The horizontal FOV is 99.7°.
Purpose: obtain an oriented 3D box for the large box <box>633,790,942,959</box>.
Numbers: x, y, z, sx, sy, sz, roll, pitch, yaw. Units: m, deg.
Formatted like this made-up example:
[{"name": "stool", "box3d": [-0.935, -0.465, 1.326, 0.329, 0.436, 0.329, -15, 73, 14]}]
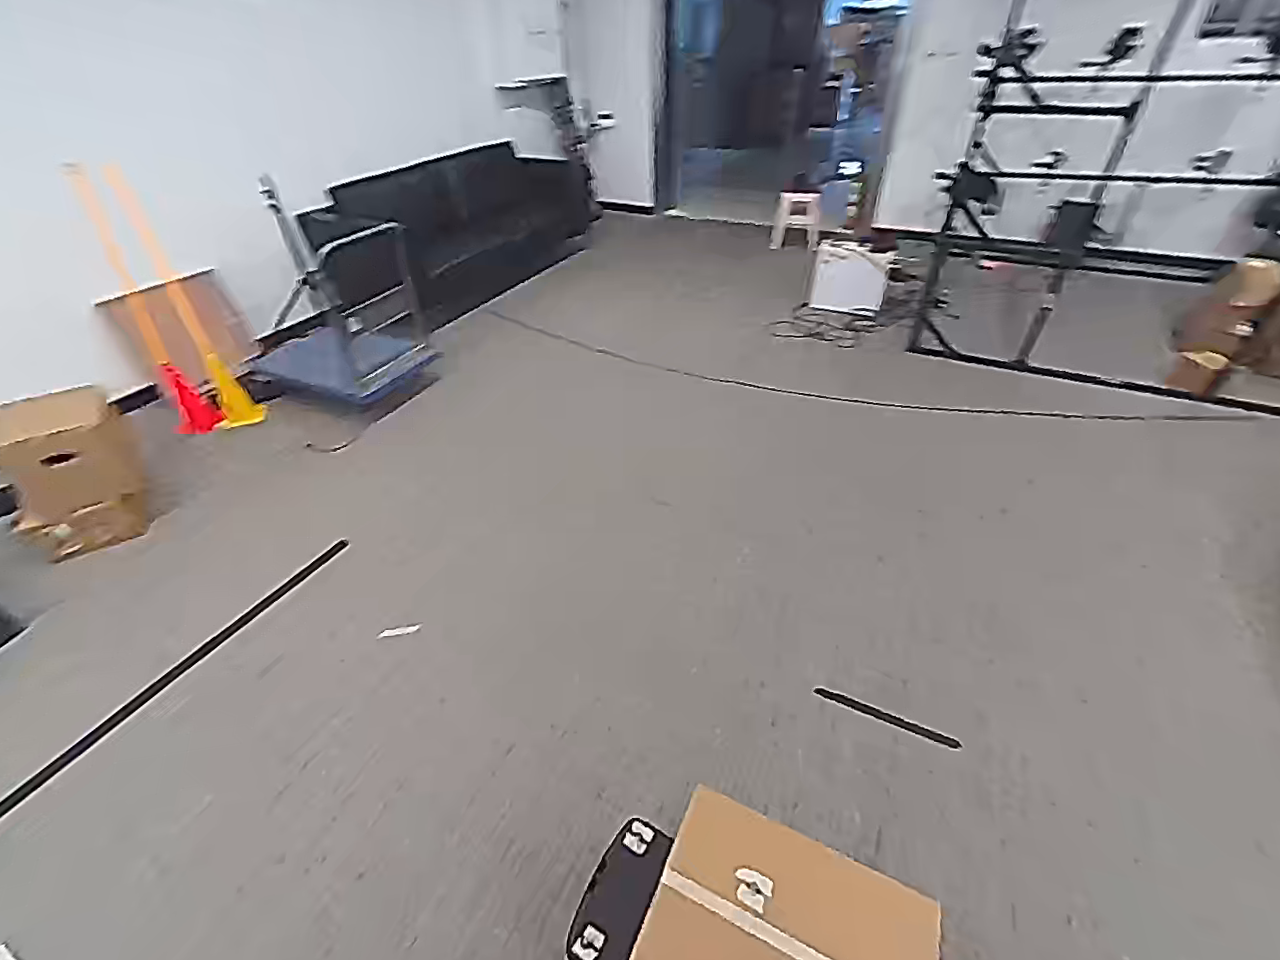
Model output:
[{"name": "large box", "box3d": [0.223, 0.800, 0.879, 0.408, 0.320, 0.320, 16, 42, 22]}]
